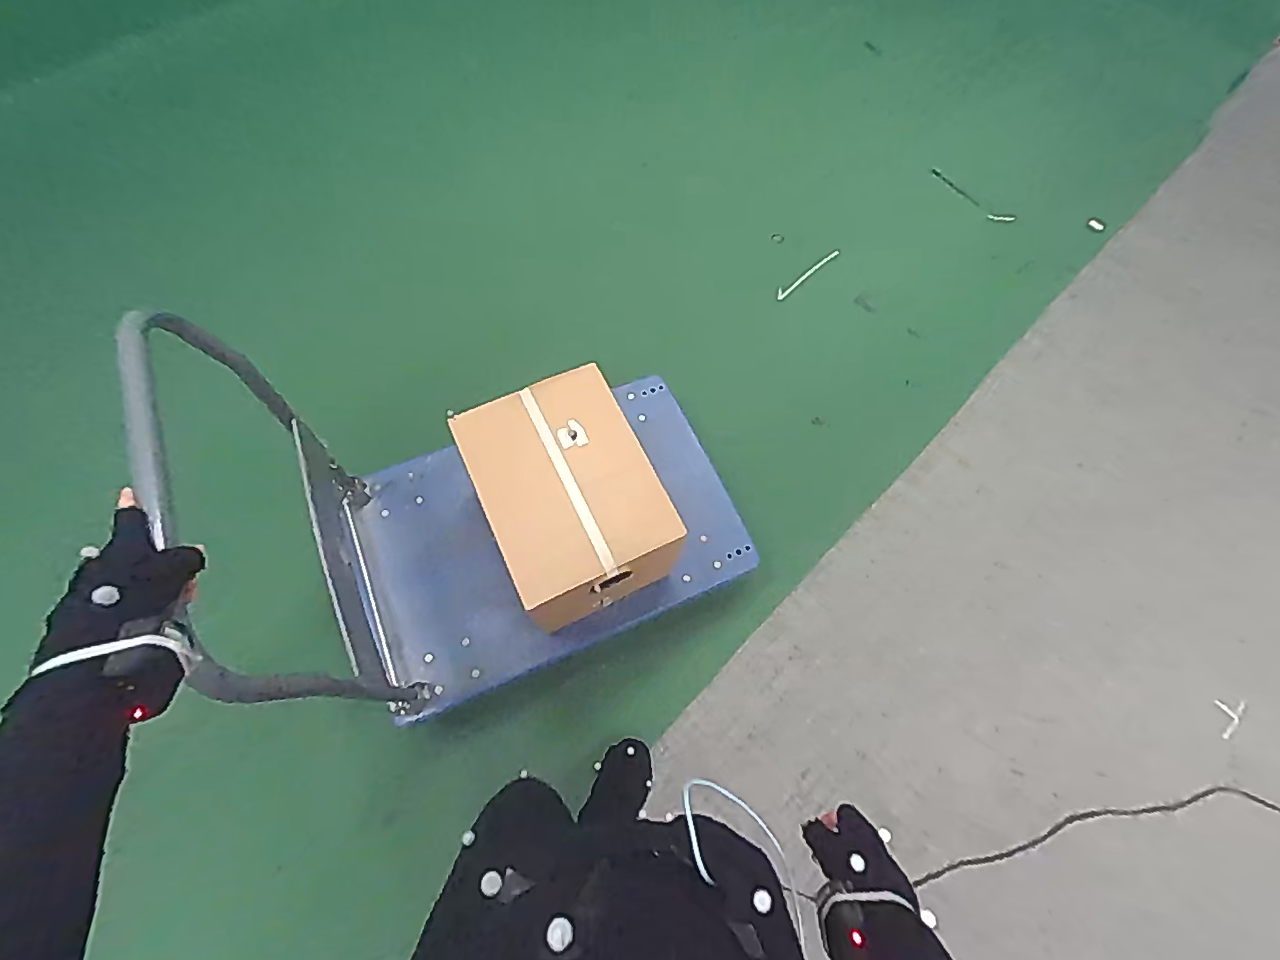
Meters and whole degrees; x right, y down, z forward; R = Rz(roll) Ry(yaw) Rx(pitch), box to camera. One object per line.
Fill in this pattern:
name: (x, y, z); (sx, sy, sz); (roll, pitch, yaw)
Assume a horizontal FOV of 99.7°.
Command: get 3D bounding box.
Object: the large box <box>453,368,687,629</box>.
large box: (-0.143, 0.050, 1.149); (0.320, 0.320, 0.408); (-24, 70, -13)
